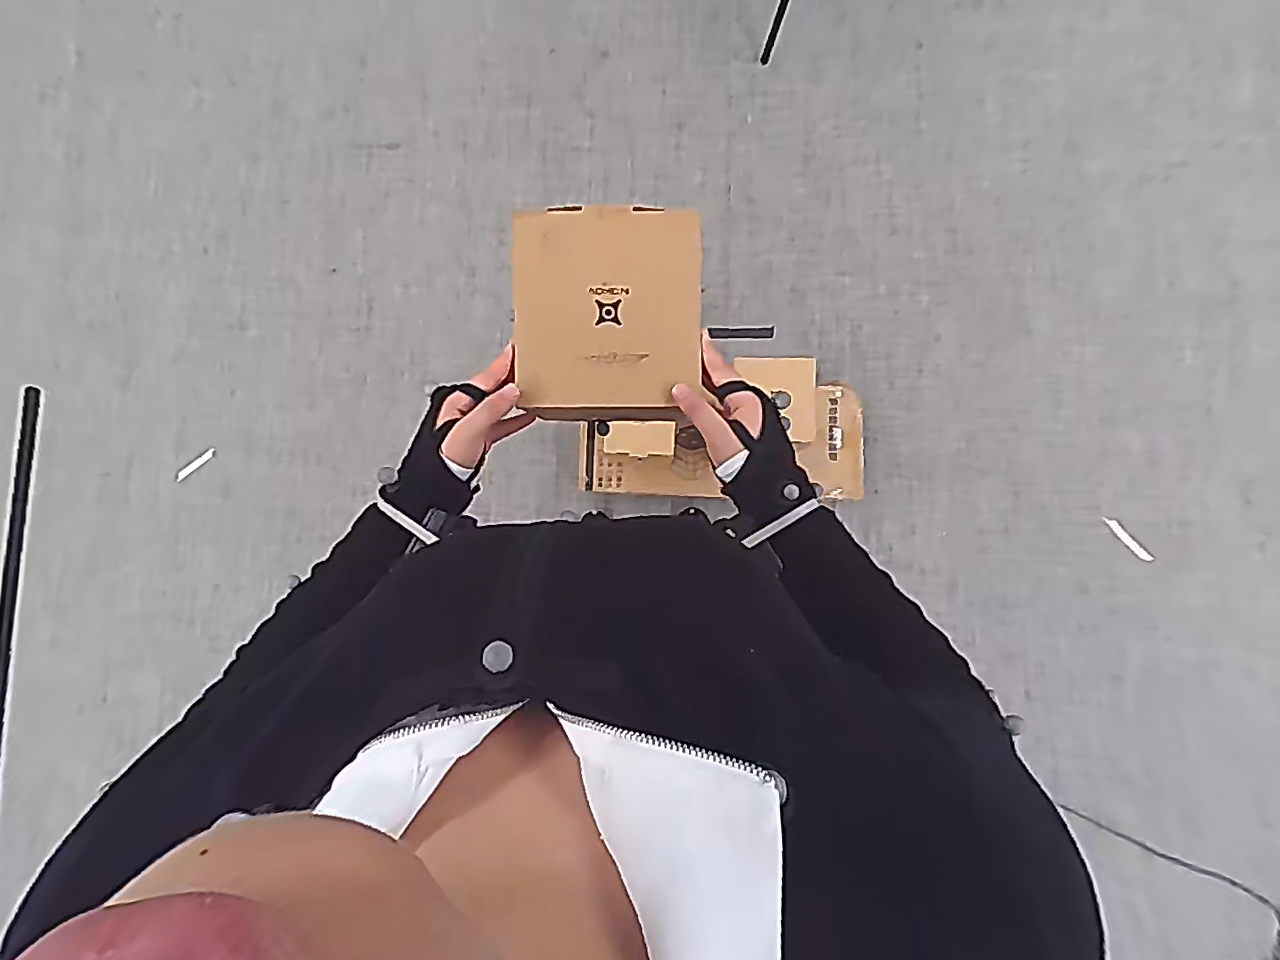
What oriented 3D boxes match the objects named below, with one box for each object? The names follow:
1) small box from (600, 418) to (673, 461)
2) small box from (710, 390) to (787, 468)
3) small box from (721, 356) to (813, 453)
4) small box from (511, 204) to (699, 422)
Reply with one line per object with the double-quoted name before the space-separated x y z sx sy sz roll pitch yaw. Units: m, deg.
"small box" -0.002 -0.142 1.339 0.168 0.176 0.179 3 87 3
"small box" 0.267 -0.131 1.332 0.168 0.176 0.179 6 87 3
"small box" 0.267 -0.158 1.168 0.168 0.176 0.179 1 86 2
"small box" -0.034 -0.156 0.556 0.168 0.176 0.179 0 92 -1
